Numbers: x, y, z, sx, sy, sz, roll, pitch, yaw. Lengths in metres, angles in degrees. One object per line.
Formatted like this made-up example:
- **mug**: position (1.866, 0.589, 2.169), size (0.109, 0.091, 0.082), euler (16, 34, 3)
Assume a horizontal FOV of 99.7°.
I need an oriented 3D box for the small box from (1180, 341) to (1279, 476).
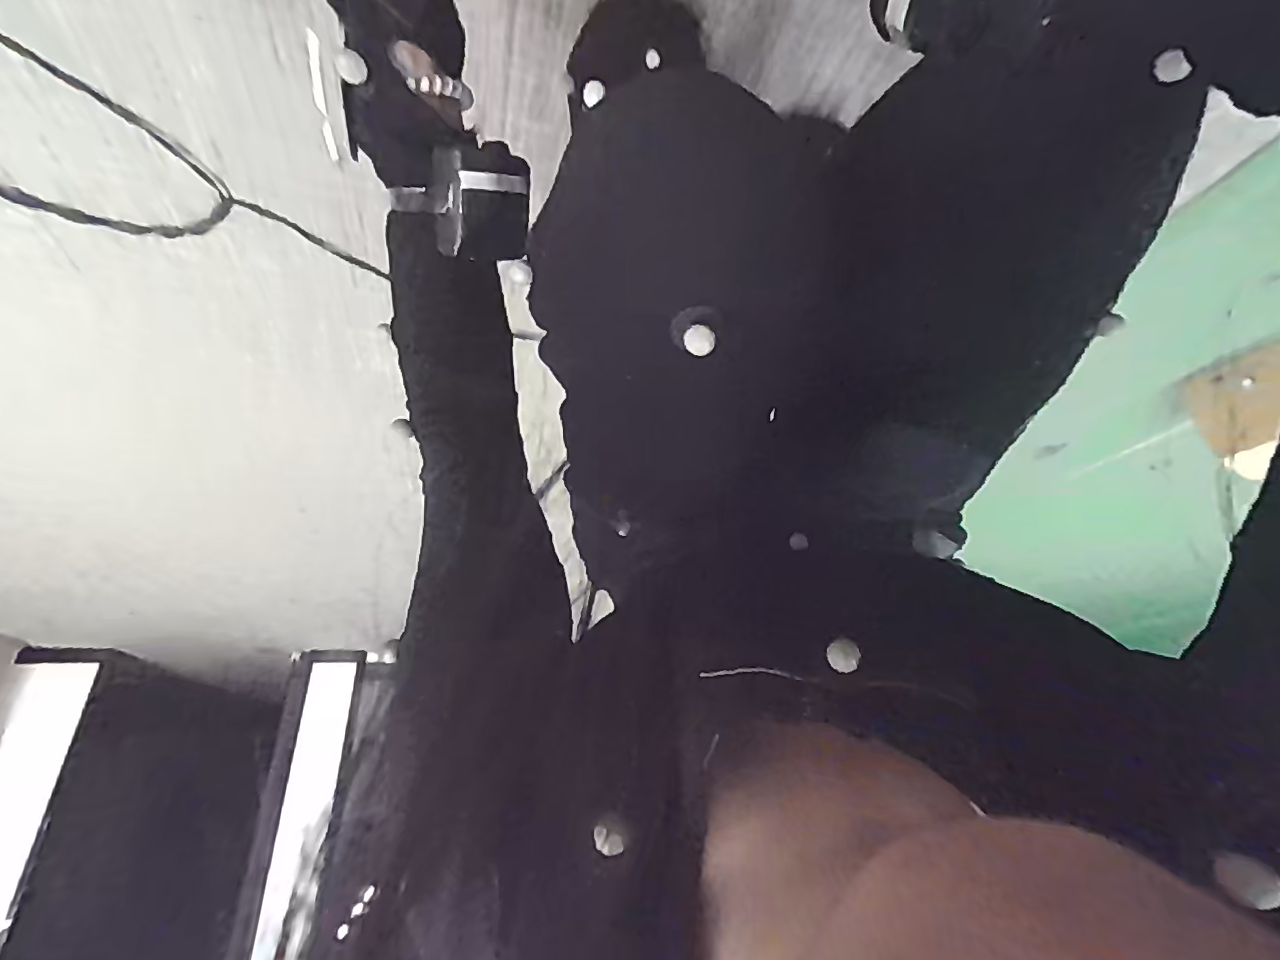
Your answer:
- **small box**: position (1.149, -0.128, 0.980), size (0.179, 0.176, 0.168), euler (13, 149, -26)
